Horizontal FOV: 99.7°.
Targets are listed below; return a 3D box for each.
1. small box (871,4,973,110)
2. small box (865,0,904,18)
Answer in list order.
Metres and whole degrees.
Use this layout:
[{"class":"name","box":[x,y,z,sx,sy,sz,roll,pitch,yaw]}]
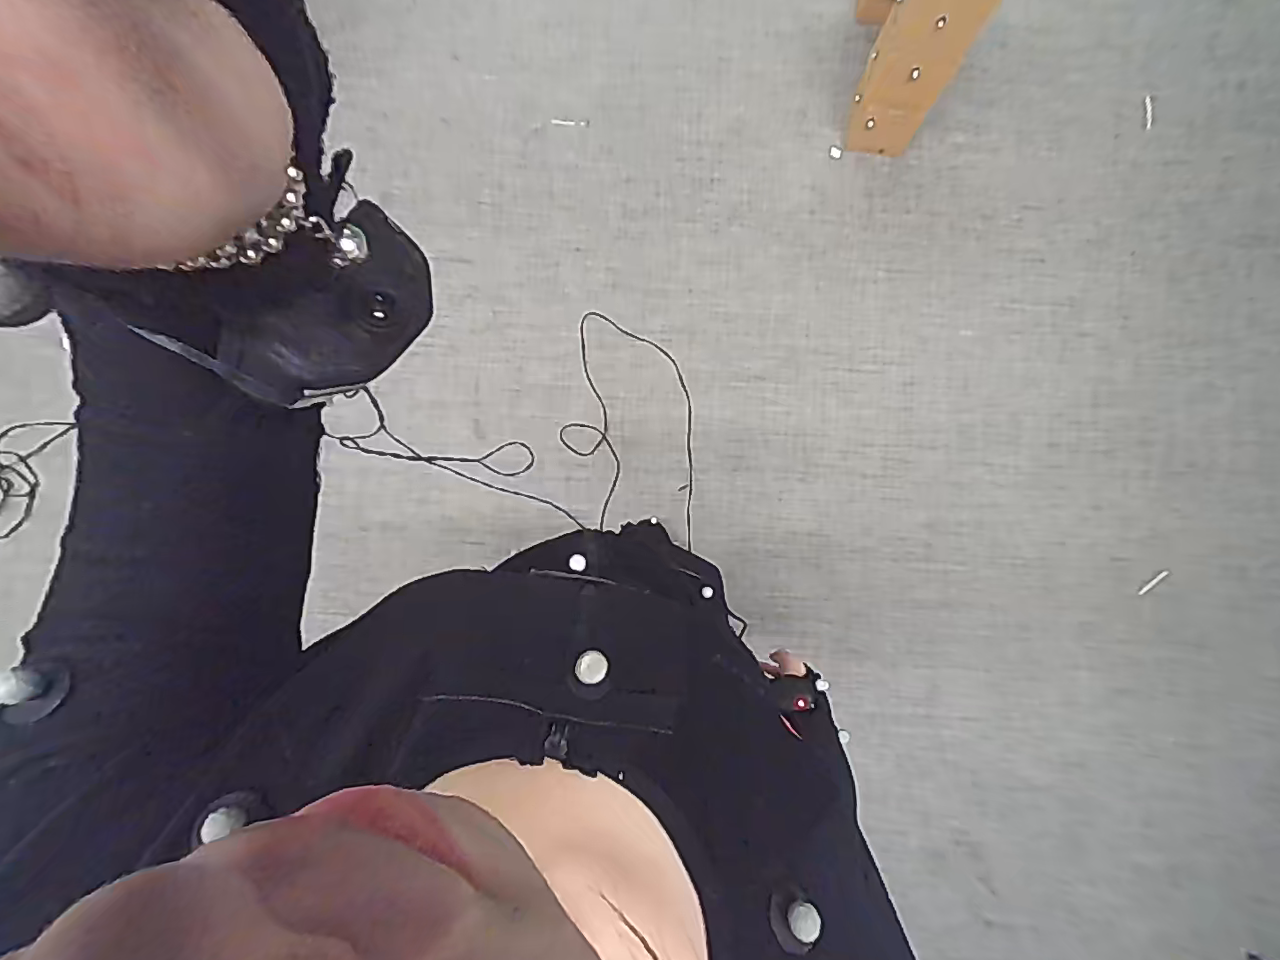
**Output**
[{"class":"small box","box":[0.715,-1.081,1.368,0.179,0.176,0.168,10,85,2]},{"class":"small box","box":[0.772,-1.485,1.565,0.179,0.176,0.168,7,85,1]}]
